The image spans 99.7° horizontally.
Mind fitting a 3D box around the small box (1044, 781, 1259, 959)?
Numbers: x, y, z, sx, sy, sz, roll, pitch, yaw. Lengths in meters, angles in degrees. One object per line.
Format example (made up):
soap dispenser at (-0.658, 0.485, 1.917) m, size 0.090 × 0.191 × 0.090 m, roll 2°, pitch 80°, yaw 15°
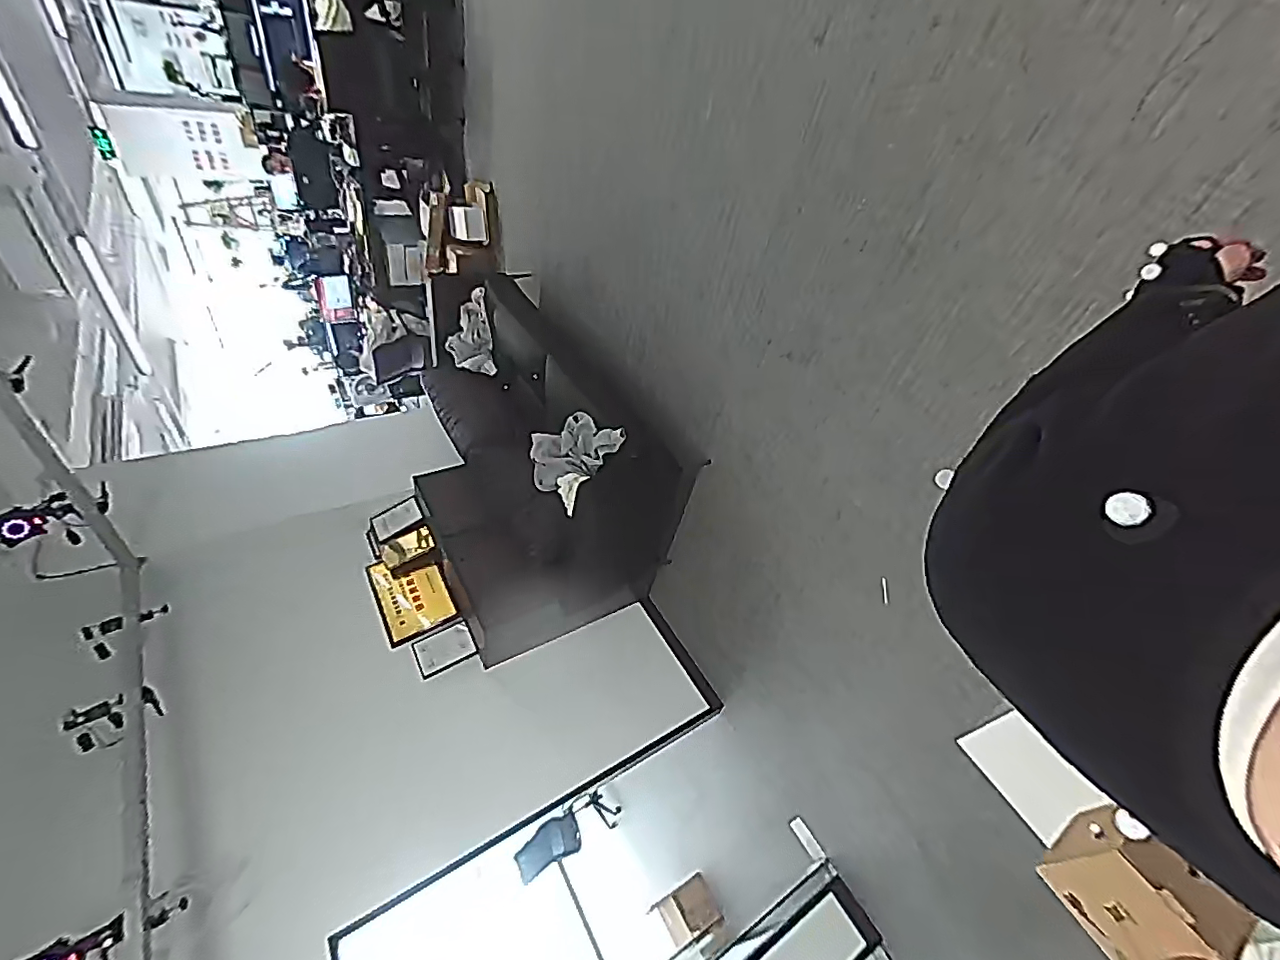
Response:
small box at (0.811, 0.619, 0.862) m, size 0.168 × 0.176 × 0.179 m, roll 52°, pitch 145°, yaw 32°
